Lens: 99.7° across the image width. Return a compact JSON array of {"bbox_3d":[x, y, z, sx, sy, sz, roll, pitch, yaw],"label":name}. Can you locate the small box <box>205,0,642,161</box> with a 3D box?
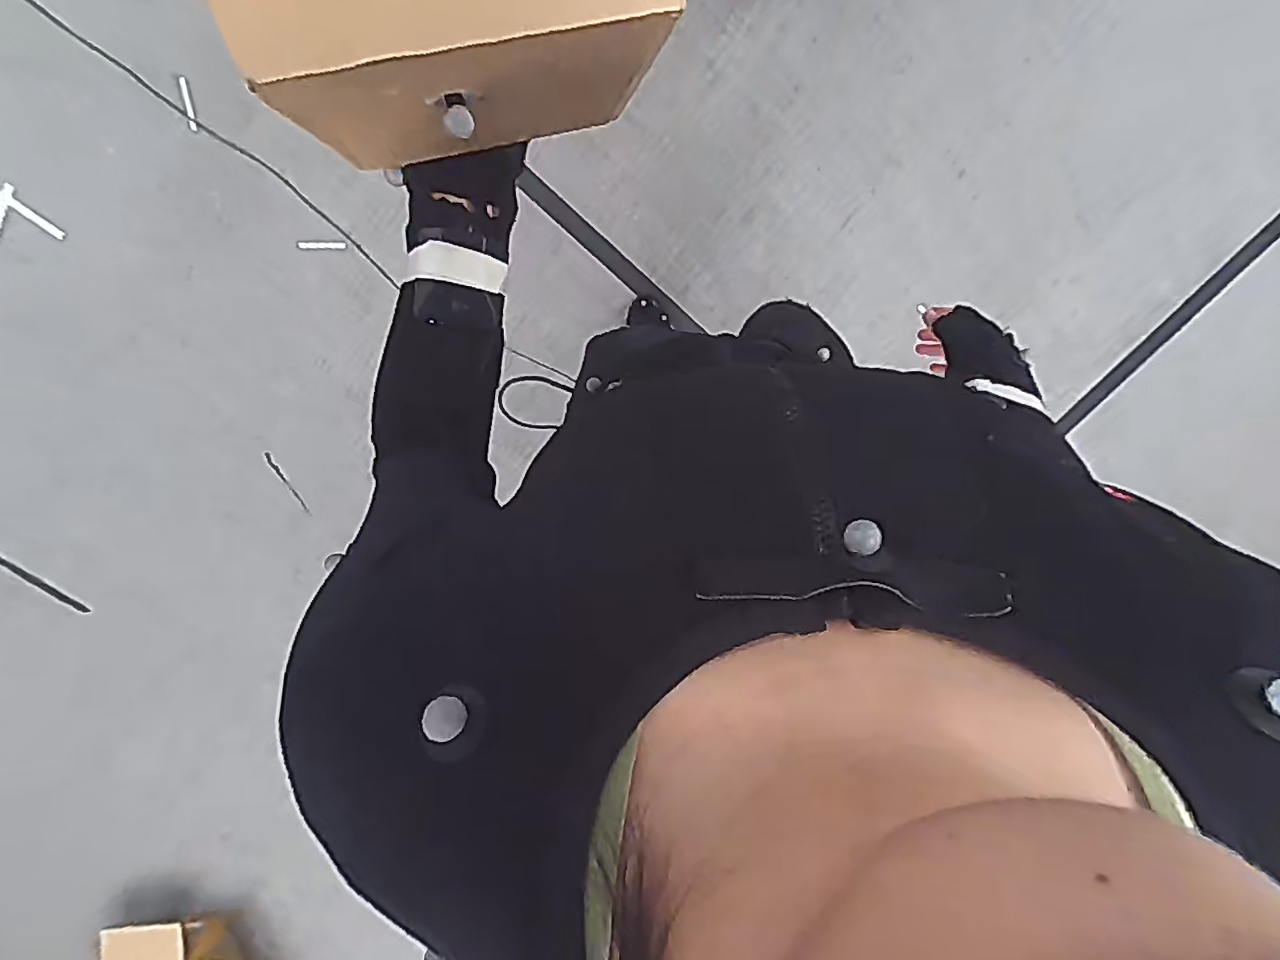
[{"bbox_3d":[-0.103,-0.274,0.255,0.179,0.176,0.168,-18,112,-6],"label":"small box"}]
